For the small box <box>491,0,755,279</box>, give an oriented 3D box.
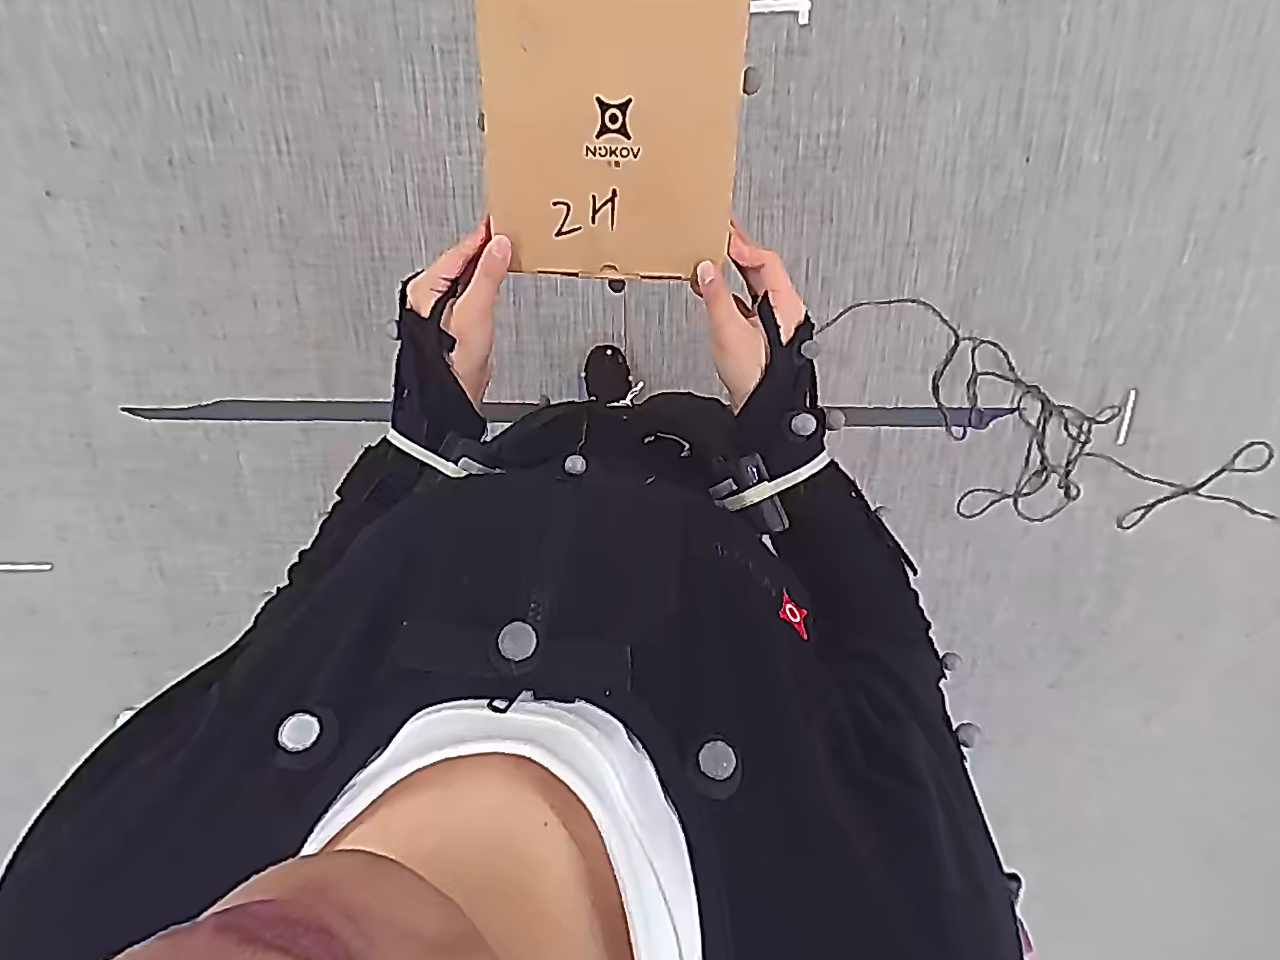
[{"bbox_3d":[-0.014,-0.259,0.431,0.168,0.176,0.179,3,112,0],"label":"small box"}]
